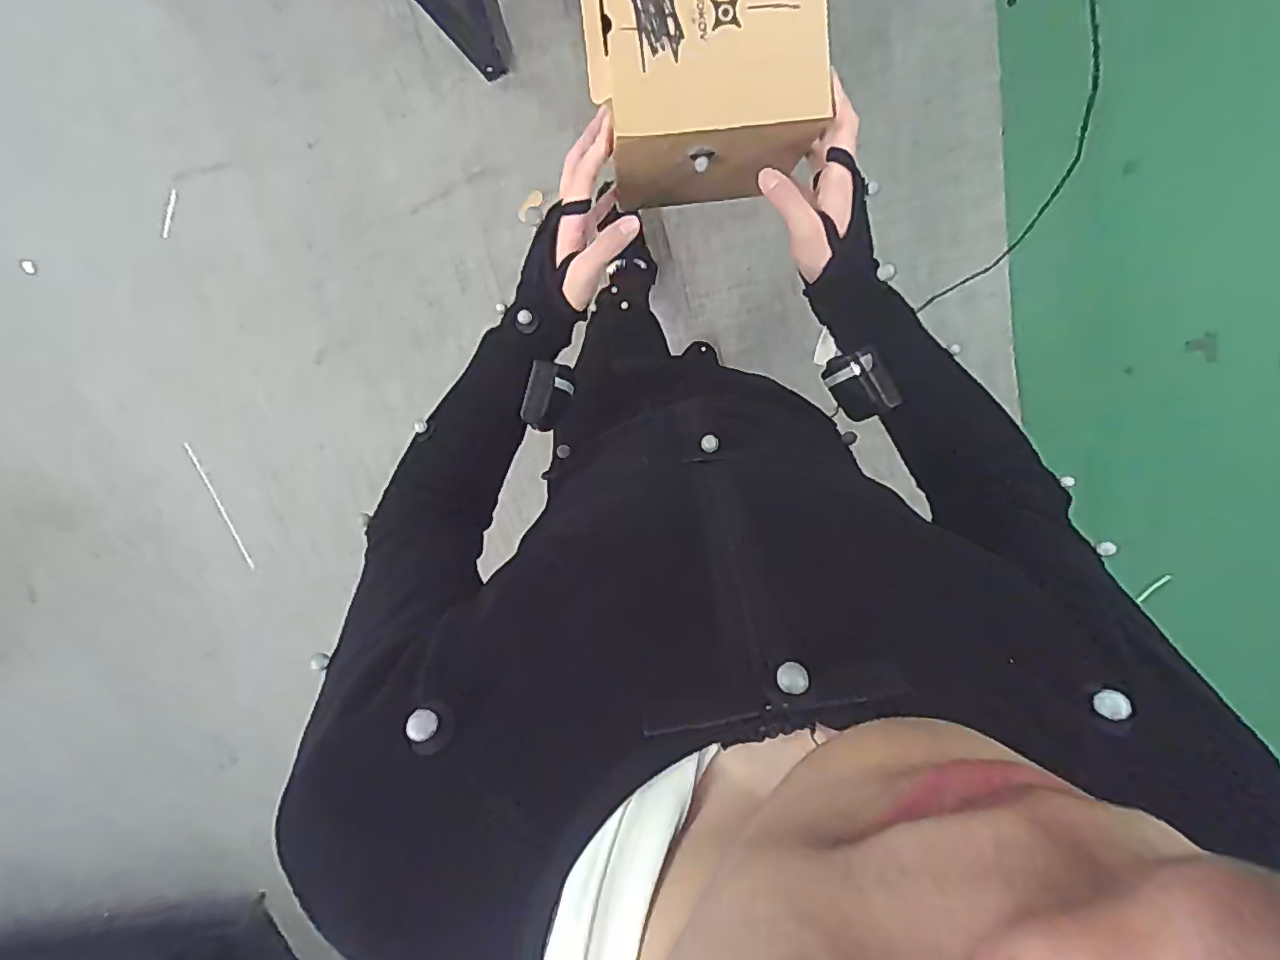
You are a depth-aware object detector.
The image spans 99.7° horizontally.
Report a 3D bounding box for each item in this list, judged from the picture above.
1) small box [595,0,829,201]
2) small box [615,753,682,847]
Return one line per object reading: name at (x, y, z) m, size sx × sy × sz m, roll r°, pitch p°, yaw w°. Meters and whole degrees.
small box at (0.053, -0.371, 0.490) m, size 0.179 × 0.176 × 0.168 m, roll -7°, pitch 99°, yaw -1°
small box at (0.029, 0.907, 1.549) m, size 0.168 × 0.176 × 0.179 m, roll -6°, pitch 106°, yaw 7°
